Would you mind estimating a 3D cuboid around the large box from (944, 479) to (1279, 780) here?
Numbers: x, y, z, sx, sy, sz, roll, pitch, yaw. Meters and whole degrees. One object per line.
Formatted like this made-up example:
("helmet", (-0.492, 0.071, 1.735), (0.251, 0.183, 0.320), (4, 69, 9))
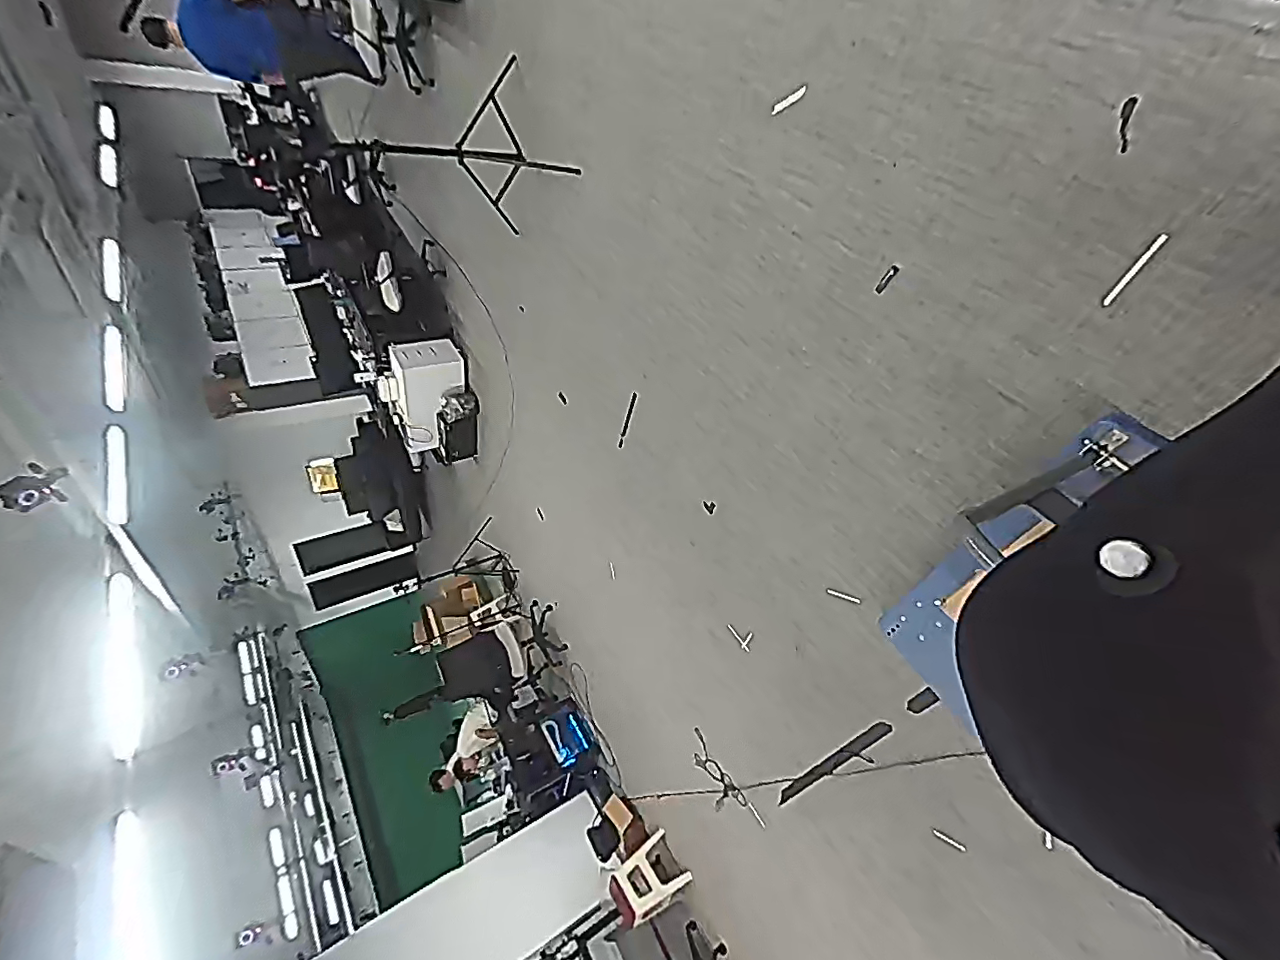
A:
("large box", (0.914, 0.266, 1.035), (0.408, 0.320, 0.320), (54, 144, 30))
